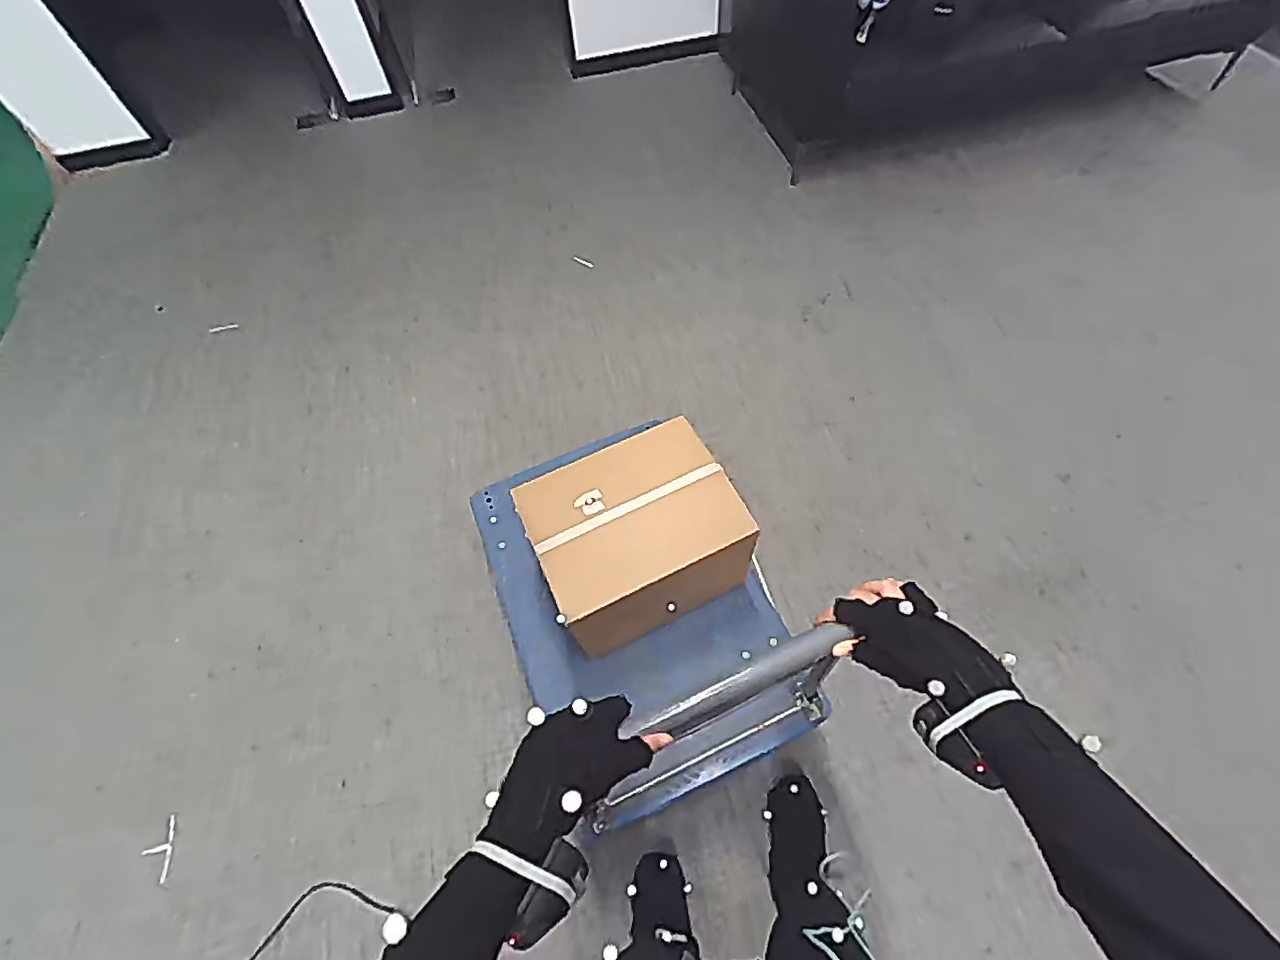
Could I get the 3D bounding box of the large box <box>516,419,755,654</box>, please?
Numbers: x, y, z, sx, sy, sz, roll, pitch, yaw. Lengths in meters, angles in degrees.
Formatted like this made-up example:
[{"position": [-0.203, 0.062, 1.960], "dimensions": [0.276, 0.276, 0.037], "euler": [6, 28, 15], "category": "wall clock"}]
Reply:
[{"position": [-0.004, 0.135, 1.212], "dimensions": [0.408, 0.320, 0.320], "euler": [-25, 61, -9], "category": "large box"}]
